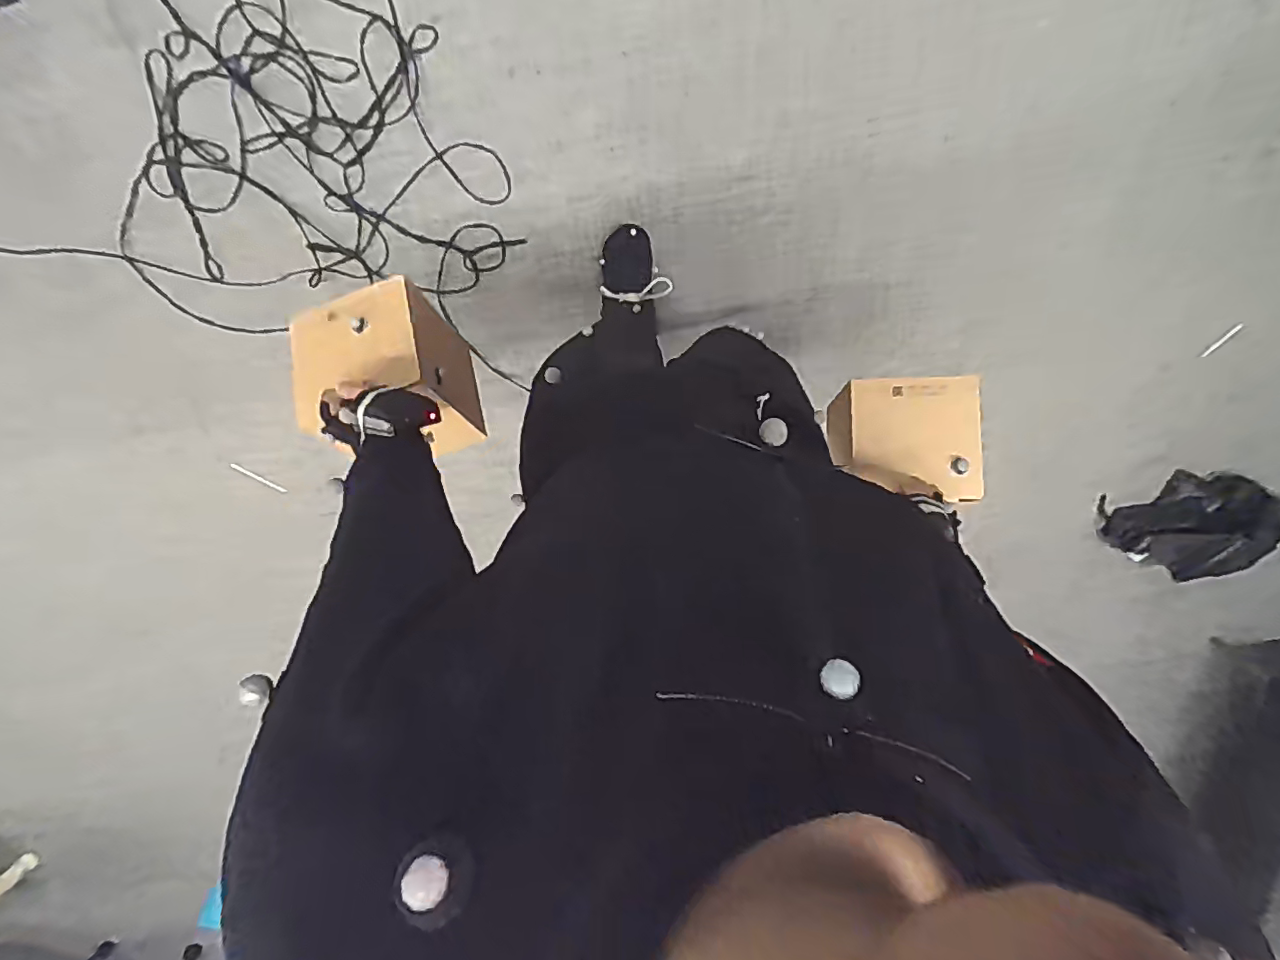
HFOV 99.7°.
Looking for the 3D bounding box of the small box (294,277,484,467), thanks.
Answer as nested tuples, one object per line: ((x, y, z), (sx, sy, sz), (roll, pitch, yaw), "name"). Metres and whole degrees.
((-0.338, -0.141, 0.743), (0.168, 0.179, 0.176), (-19, 70, 5), "small box")
